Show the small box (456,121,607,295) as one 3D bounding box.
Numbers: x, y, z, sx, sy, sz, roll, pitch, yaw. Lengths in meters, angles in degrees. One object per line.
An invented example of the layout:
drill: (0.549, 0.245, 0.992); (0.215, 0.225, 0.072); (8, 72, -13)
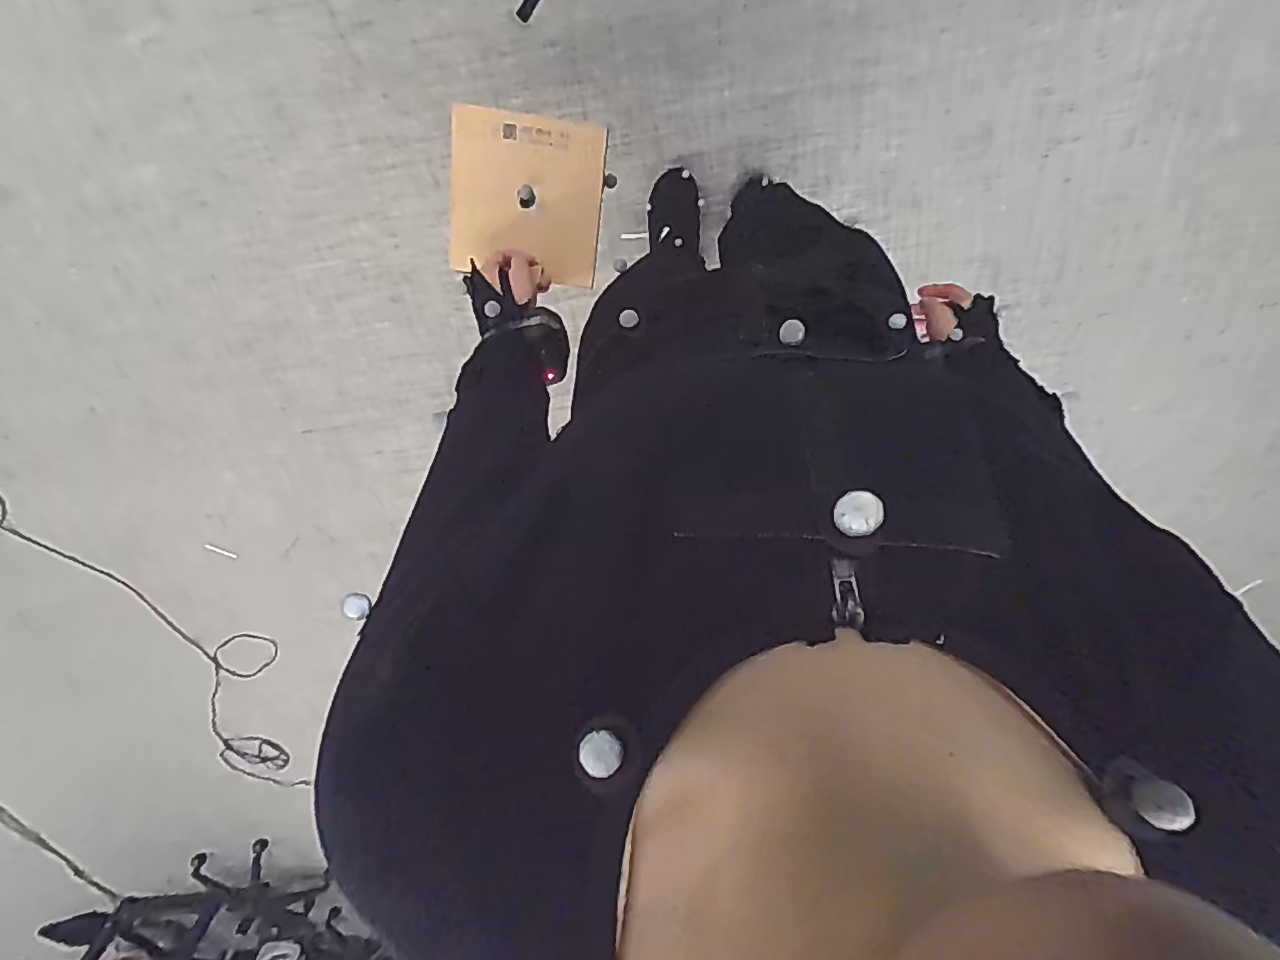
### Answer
small box: (-0.131, -0.331, 0.684); (0.168, 0.179, 0.176); (4, 109, -6)
